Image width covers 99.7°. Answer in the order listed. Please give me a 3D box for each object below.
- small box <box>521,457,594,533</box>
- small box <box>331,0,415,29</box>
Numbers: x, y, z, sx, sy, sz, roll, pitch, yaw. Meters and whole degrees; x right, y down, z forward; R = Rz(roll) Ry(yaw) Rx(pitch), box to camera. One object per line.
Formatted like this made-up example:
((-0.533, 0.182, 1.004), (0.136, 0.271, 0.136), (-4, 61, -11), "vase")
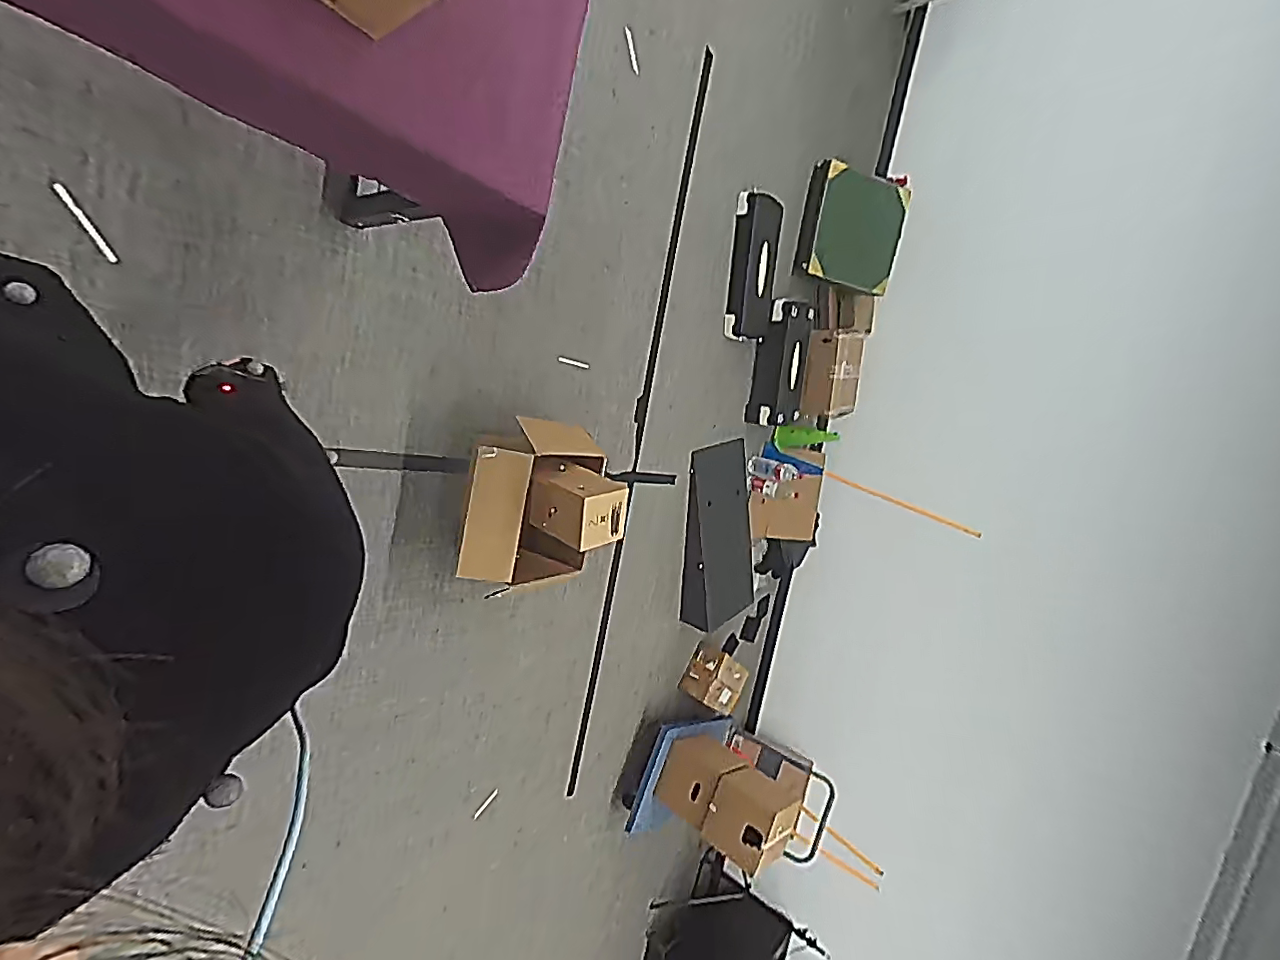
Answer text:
((-0.265, 0.038, 1.727), (0.168, 0.176, 0.179), (-25, 126, -41), "small box")
((-0.302, -0.624, 0.556), (0.168, 0.176, 0.179), (8, 96, -51), "small box")
